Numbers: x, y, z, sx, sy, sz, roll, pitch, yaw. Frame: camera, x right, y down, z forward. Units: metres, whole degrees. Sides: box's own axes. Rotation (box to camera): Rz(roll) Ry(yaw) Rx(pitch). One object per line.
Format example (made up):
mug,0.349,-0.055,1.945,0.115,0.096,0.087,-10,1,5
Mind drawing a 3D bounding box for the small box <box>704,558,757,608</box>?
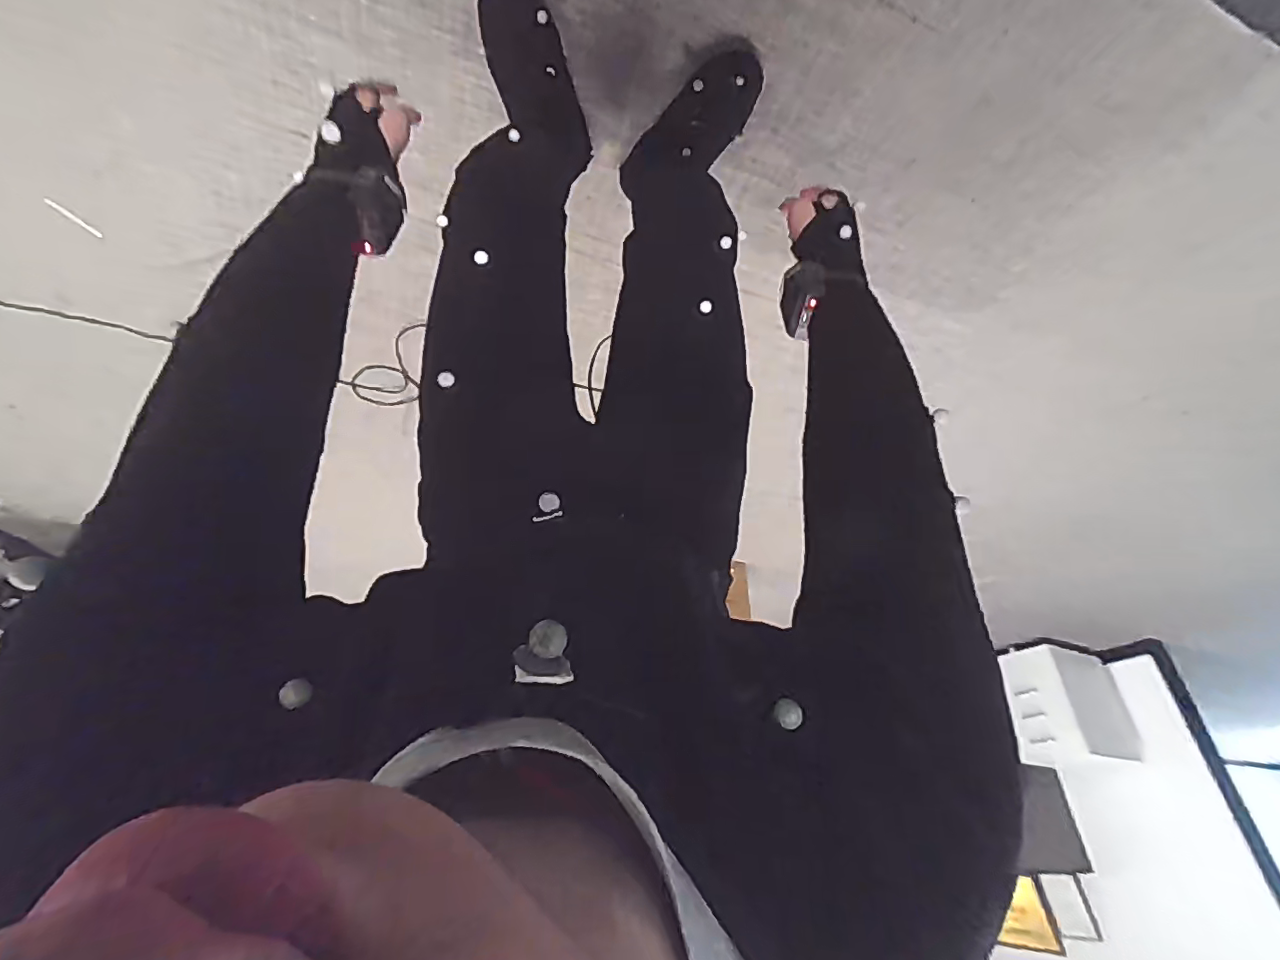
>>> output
small box,0.384,0.456,2.330,0.168,0.176,0.179,12,144,-16
